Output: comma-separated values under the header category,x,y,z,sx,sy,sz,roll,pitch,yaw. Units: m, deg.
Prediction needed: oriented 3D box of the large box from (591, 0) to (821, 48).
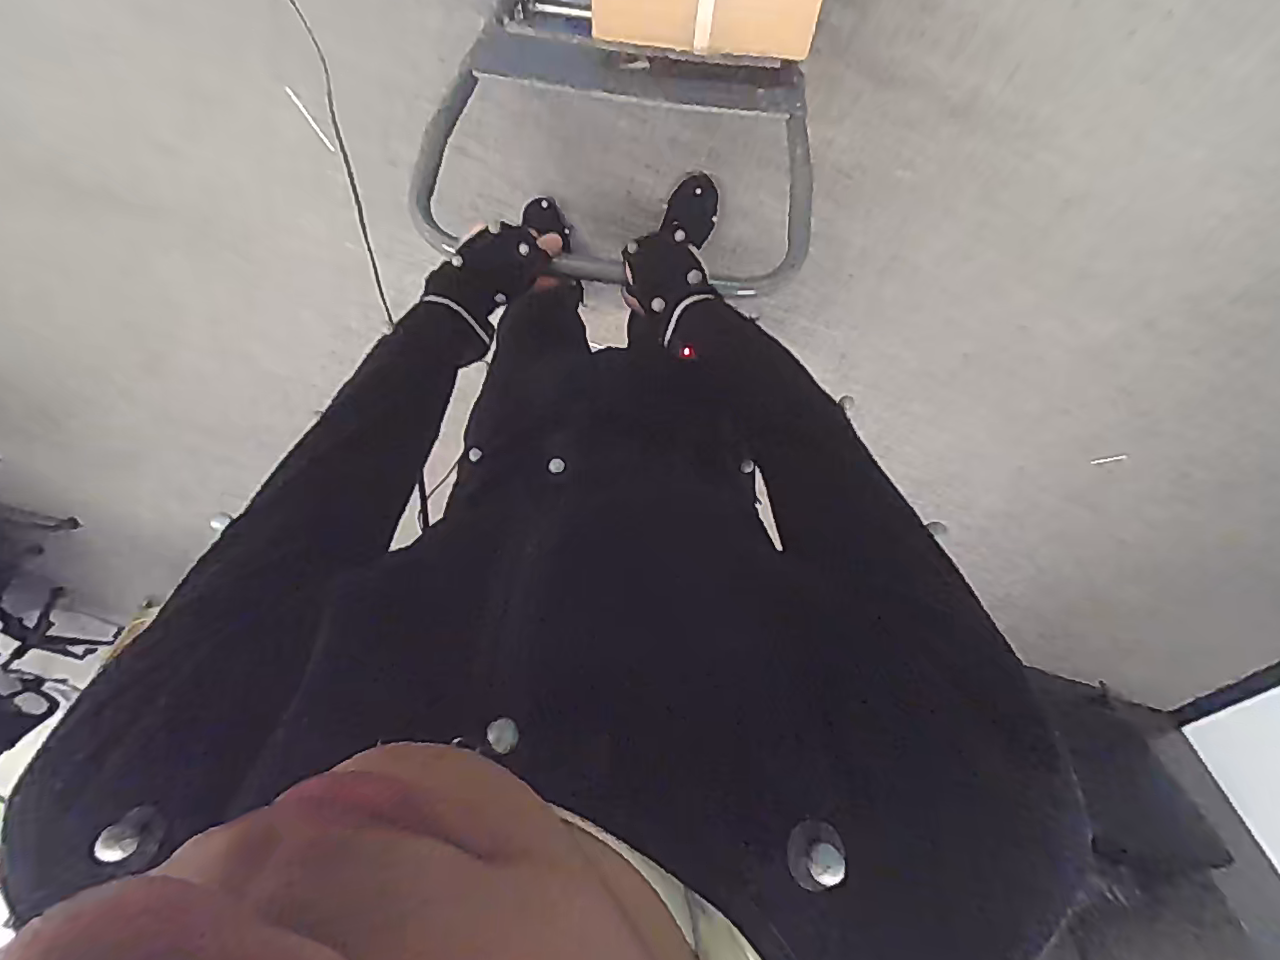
category,x,y,z,sx,sy,sz,roll,pitch,yaw
large box,0.110,-0.857,0.686,0.320,0.320,0.408,6,147,0
